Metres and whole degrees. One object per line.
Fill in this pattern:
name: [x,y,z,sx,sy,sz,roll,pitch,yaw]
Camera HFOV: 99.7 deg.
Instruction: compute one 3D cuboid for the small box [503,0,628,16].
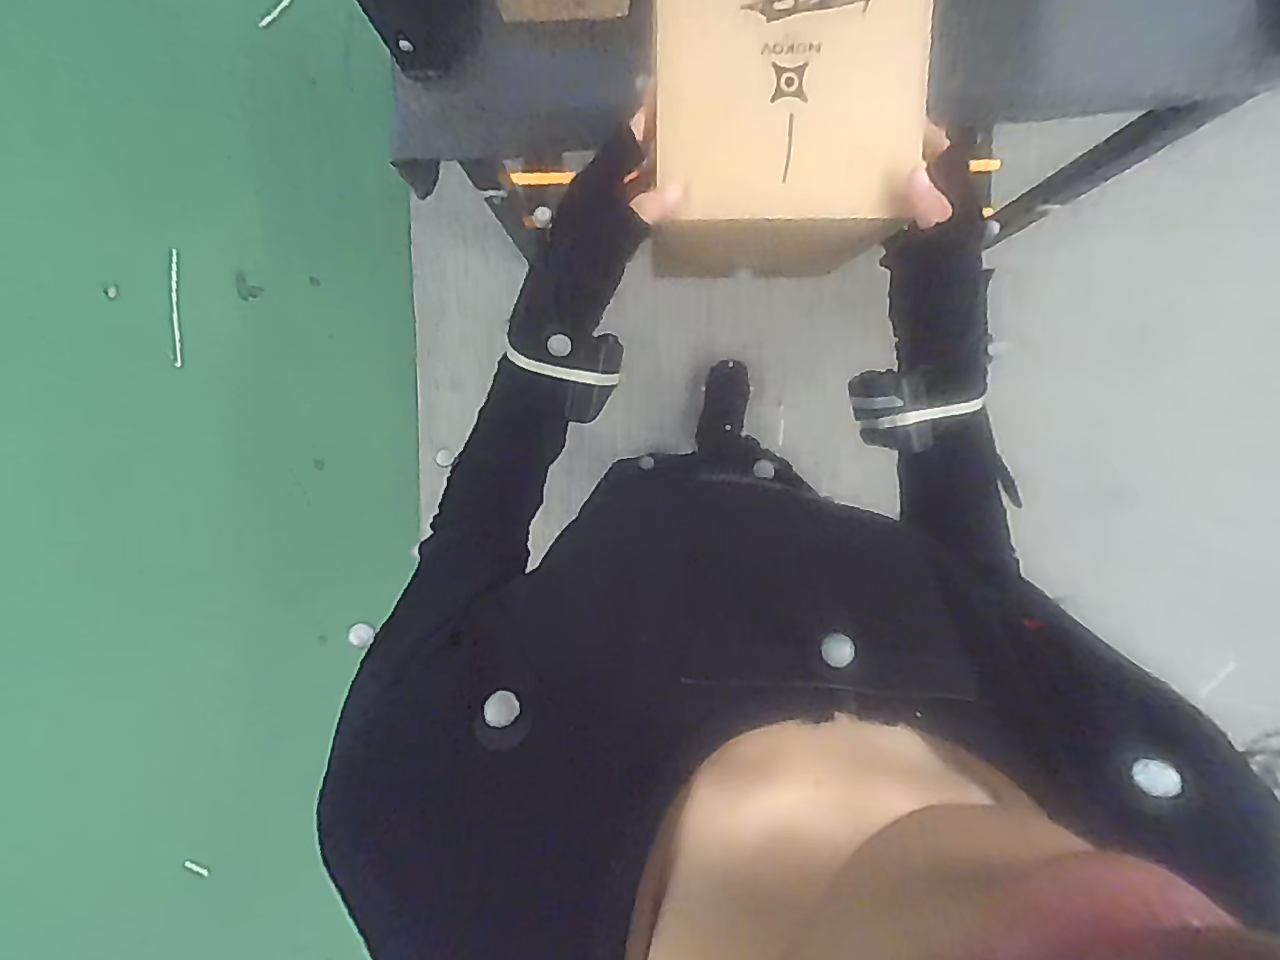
small box: [-0.100,-0.681,0.622,0.168,0.176,0.179,-2,93,1]
